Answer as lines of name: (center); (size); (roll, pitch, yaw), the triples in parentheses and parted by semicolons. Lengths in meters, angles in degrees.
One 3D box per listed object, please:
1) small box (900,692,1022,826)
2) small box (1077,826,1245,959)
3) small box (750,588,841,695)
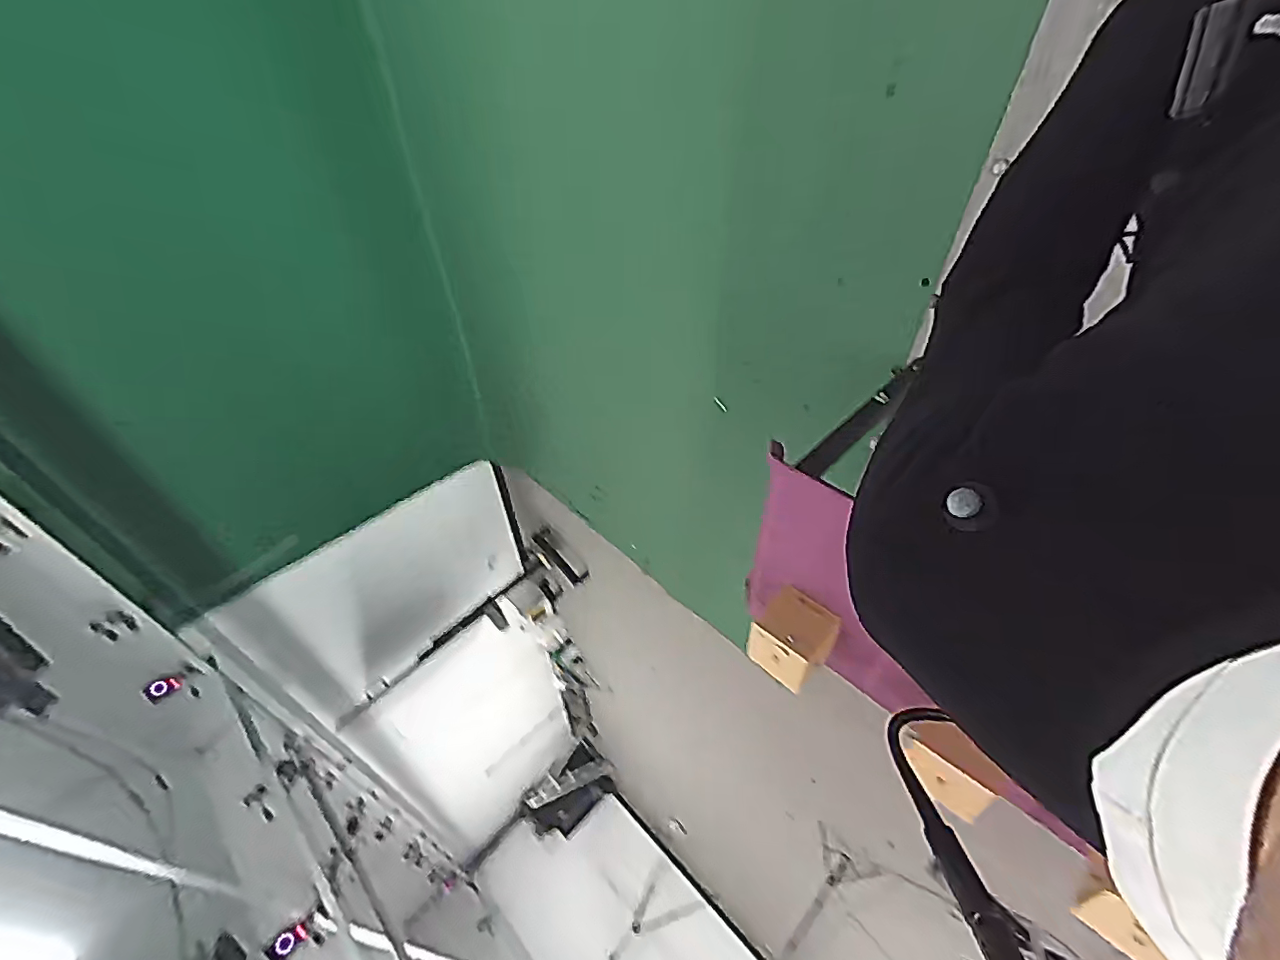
small box: (0.719, 0.620, 1.214); (0.168, 0.176, 0.179); (30, 142, 34)
small box: (0.979, 0.800, 1.020); (0.168, 0.176, 0.179); (31, 144, 35)
small box: (0.415, 0.429, 1.450); (0.168, 0.176, 0.179); (32, 143, 33)
